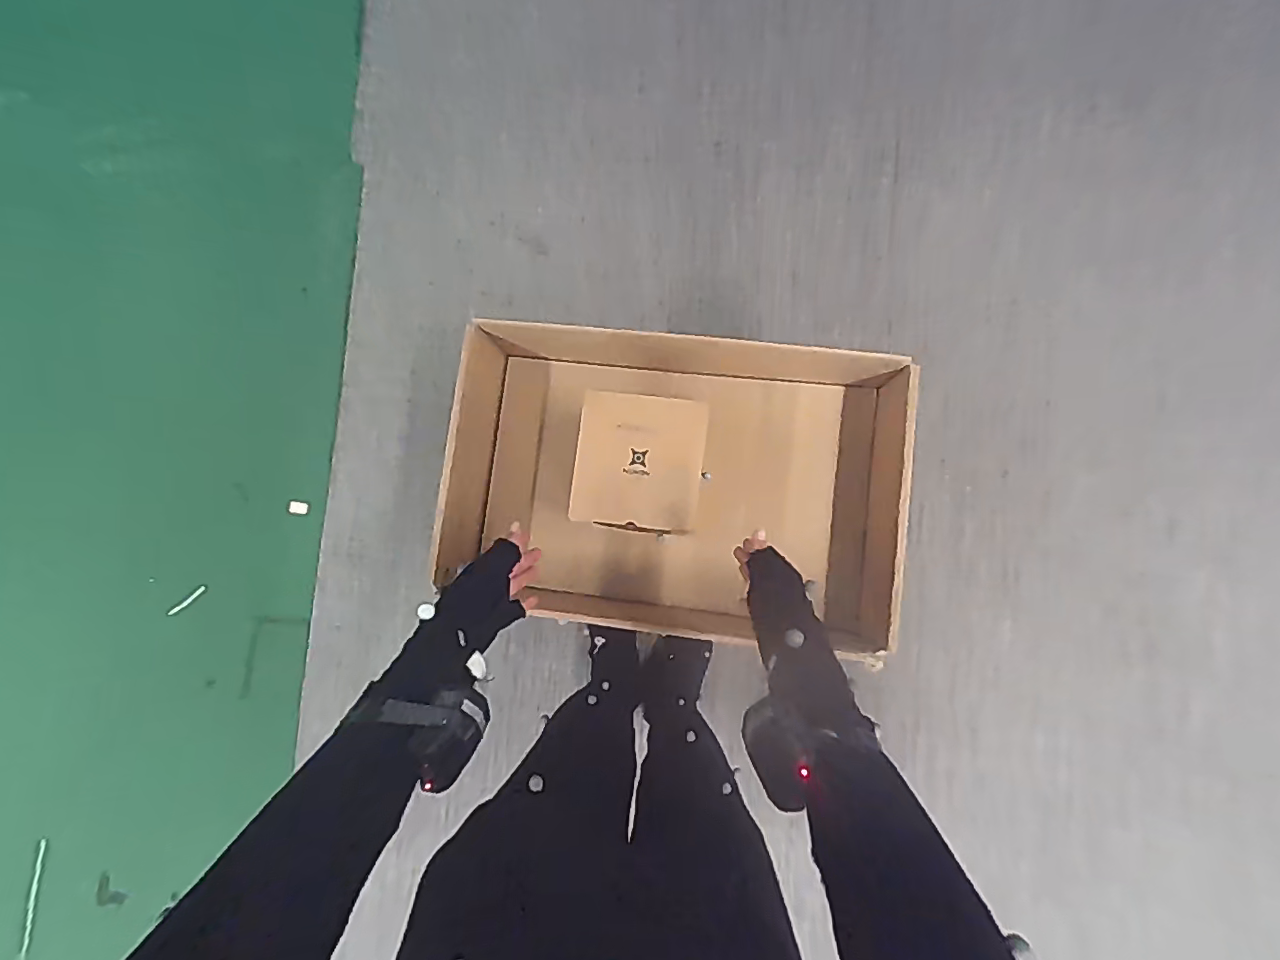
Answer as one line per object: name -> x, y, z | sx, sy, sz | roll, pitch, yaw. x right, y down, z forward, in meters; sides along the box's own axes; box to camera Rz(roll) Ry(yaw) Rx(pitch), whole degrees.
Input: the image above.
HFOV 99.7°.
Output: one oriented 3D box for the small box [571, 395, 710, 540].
small box -> 0.006, -0.009, 0.774 | 0.168, 0.176, 0.179 | 6, 84, 4
